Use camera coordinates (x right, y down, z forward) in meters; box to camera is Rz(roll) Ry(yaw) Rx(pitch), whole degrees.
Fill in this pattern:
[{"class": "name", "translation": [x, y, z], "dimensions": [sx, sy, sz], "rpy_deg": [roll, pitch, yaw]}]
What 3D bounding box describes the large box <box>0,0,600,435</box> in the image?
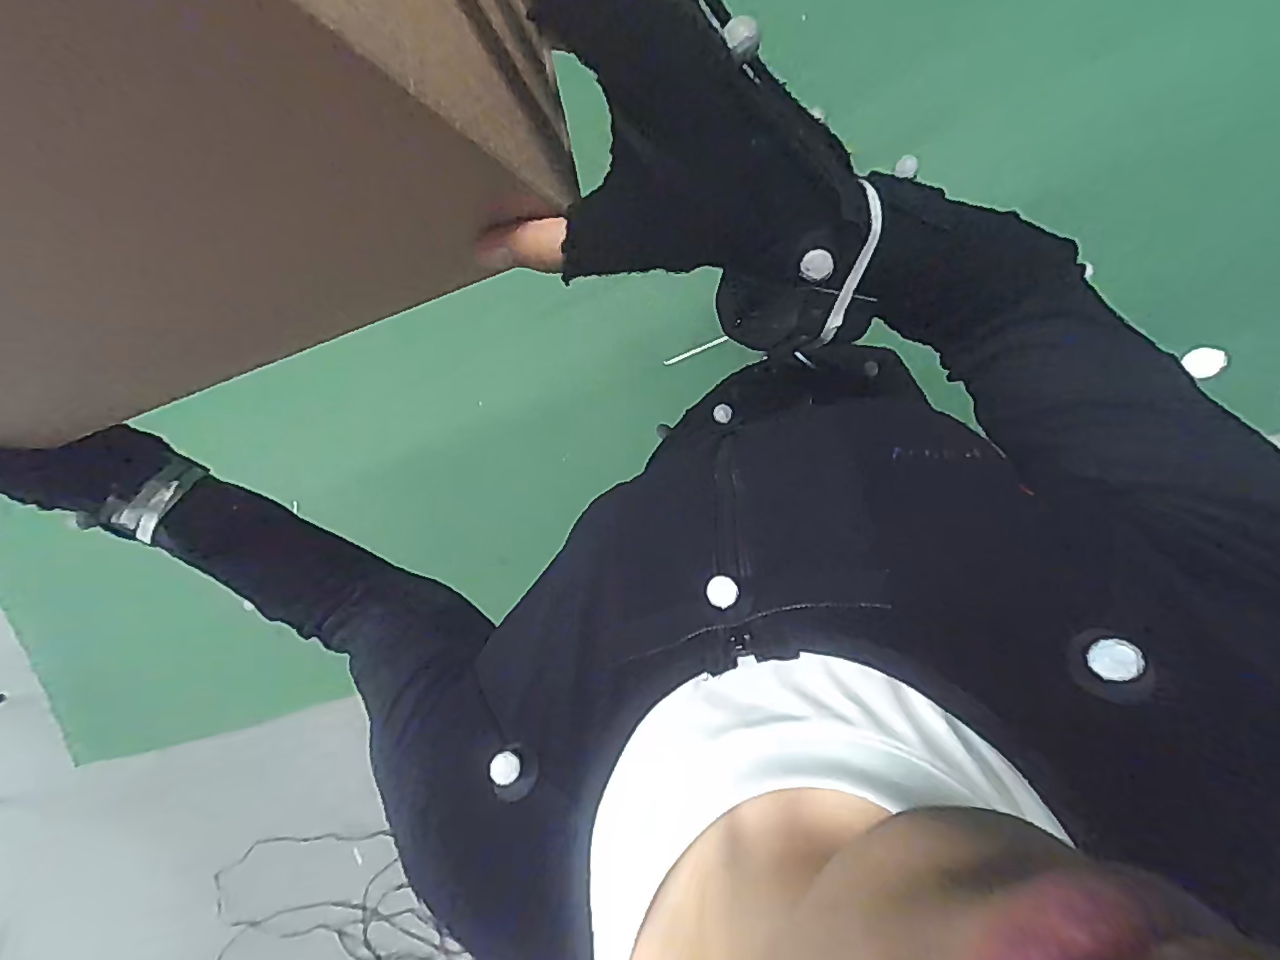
[{"class": "large box", "translation": [-0.275, -0.204, 0.141], "dimensions": [0.408, 0.320, 0.320], "rpy_deg": [-13, 93, 18]}]
